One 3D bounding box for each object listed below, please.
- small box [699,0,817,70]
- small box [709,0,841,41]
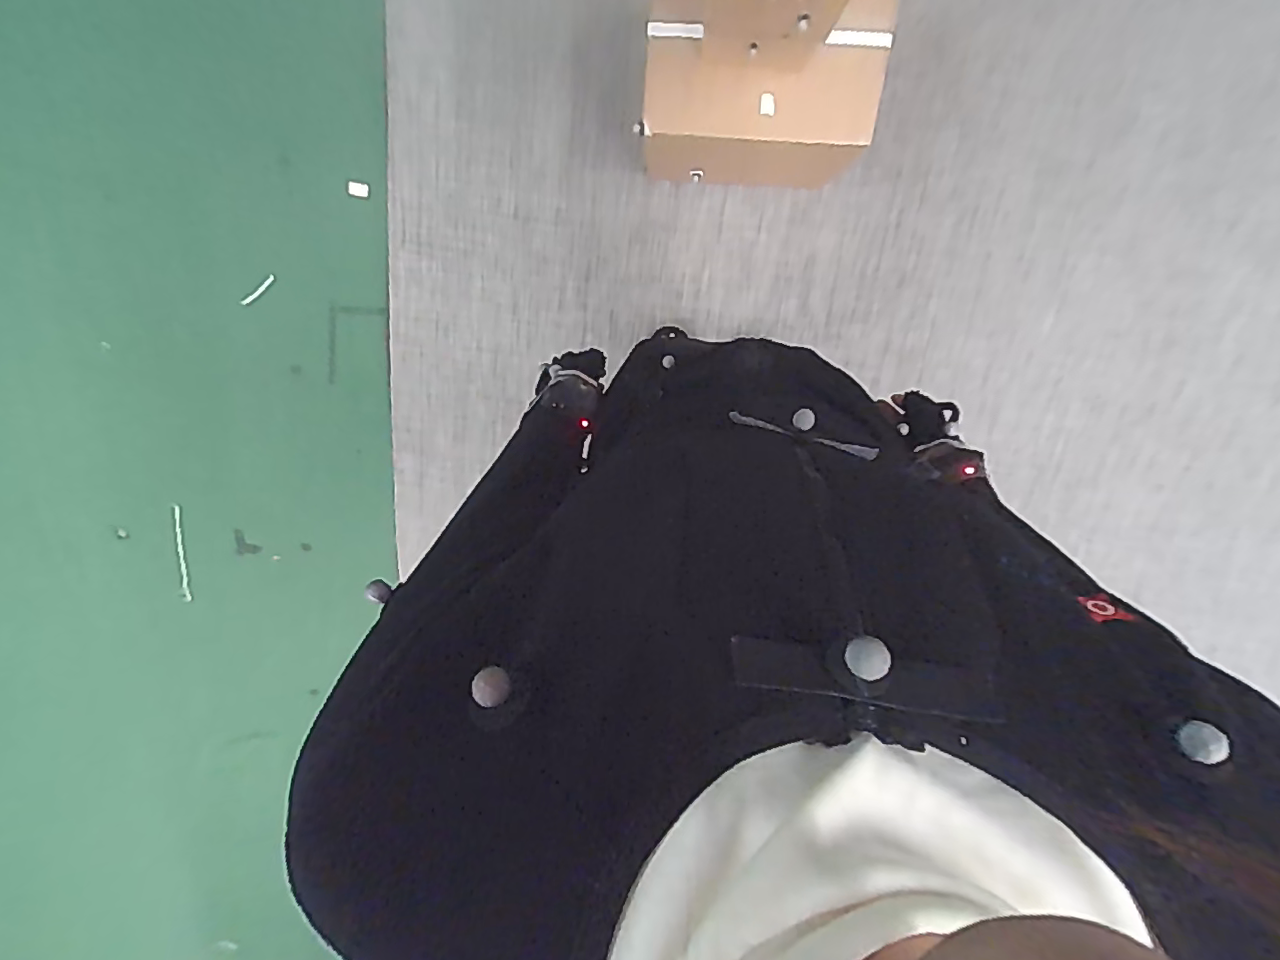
[{"bbox_3d":[0.192,-0.751,0.812,0.179,0.176,0.168,12,111,0],"label":"small box"},{"bbox_3d":[0.178,-0.681,0.669,0.168,0.176,0.179,5,111,1],"label":"small box"}]
